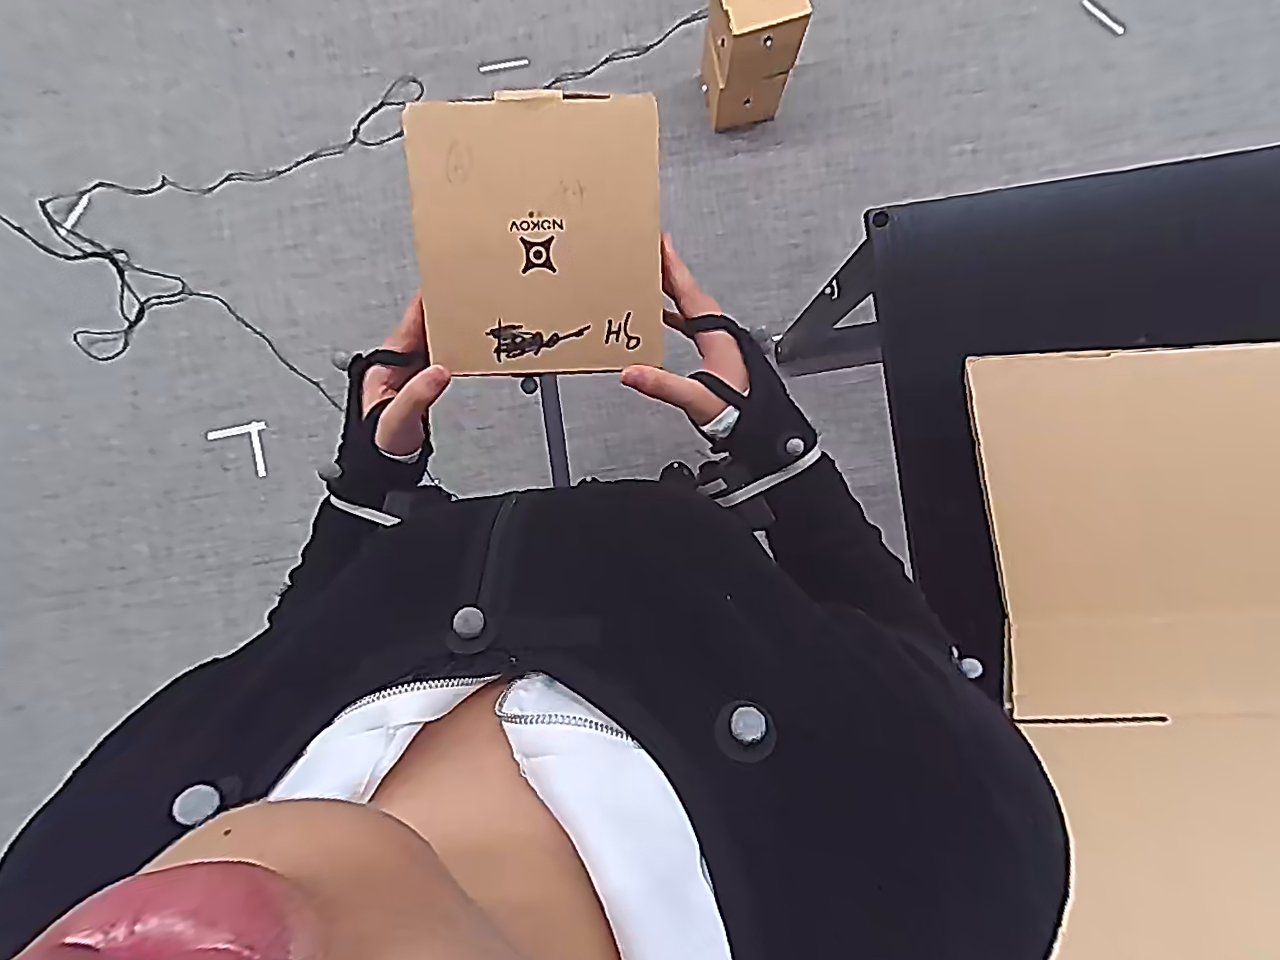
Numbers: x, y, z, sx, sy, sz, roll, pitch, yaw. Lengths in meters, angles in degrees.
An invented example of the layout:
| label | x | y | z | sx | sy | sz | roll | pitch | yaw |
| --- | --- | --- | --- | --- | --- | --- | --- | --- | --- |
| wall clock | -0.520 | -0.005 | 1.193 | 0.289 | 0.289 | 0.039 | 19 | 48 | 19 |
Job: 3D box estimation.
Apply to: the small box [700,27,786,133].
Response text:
| label | x | y | z | sx | sy | sz | roll | pitch | yaw |
| --- | --- | --- | --- | --- | --- | --- | --- | --- | --- |
| small box | 0.259 | -1.043 | 1.399 | 0.179 | 0.176 | 0.168 | -12 | 90 | 3 |

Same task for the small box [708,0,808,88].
| label | x | y | z | sx | sy | sz | roll | pitch | yaw |
| --- | --- | --- | --- | --- | --- | --- | --- | --- | --- |
| small box | 0.259 | -1.045 | 1.236 | 0.179 | 0.176 | 0.168 | -15 | 91 | 1 |

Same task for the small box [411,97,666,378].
| label | x | y | z | sx | sy | sz | roll | pitch | yaw |
| --- | --- | --- | --- | --- | --- | --- | --- | --- | --- |
| small box | -0.066 | -0.175 | 0.442 | 0.168 | 0.176 | 0.179 | -2 | 102 | 0 |
